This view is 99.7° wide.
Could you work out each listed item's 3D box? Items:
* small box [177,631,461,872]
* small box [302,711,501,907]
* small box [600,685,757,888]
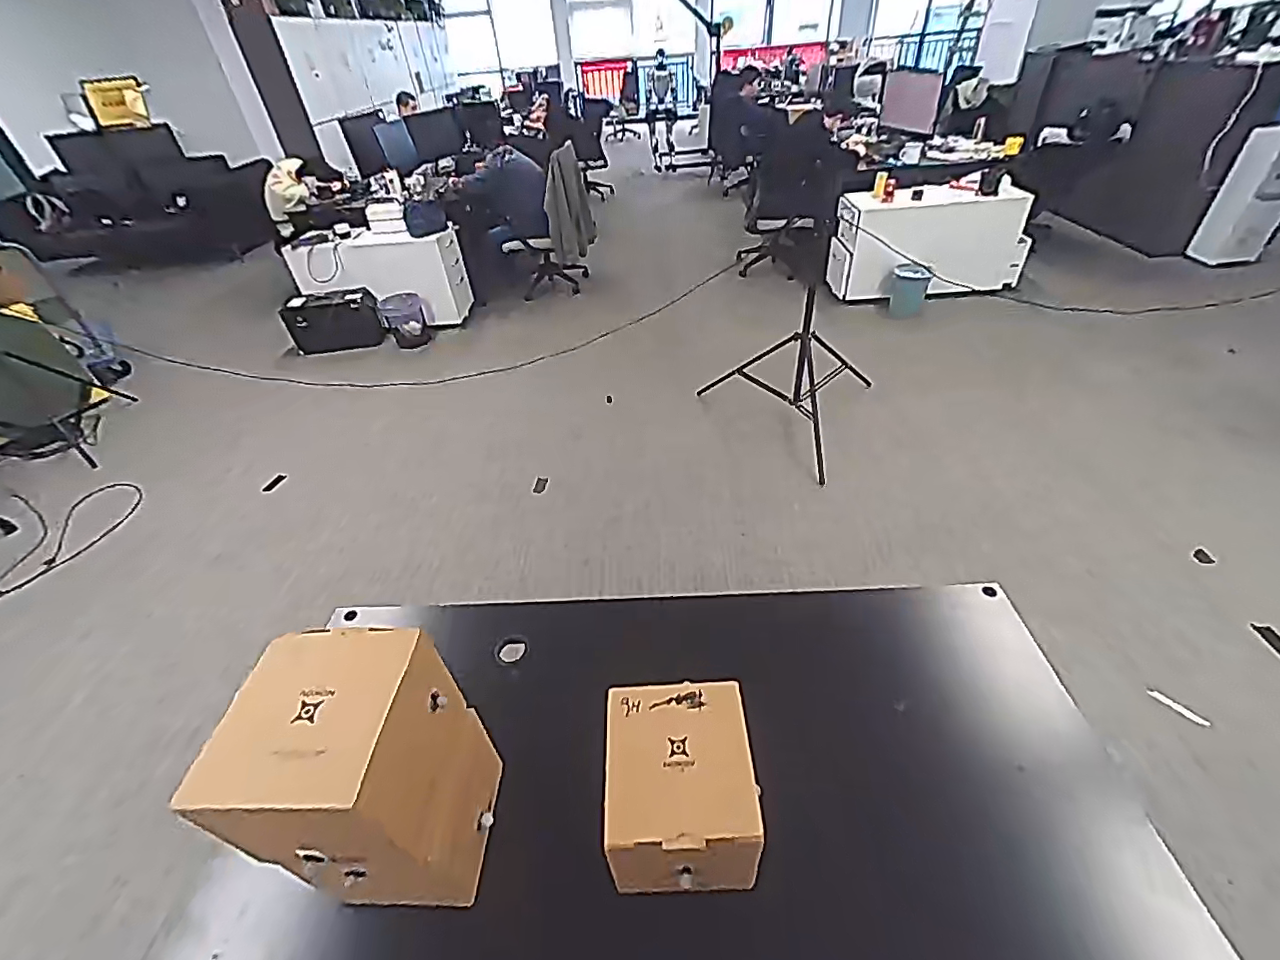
[{"bbox_3d":[-0.304,0.281,0.566,0.168,0.176,0.179,-4,40,4],"label":"small box"},{"bbox_3d":[-0.291,0.405,0.670,0.179,0.176,0.168,-1,39,3],"label":"small box"},{"bbox_3d":[0.046,0.380,0.666,0.168,0.176,0.179,-4,39,2],"label":"small box"}]
